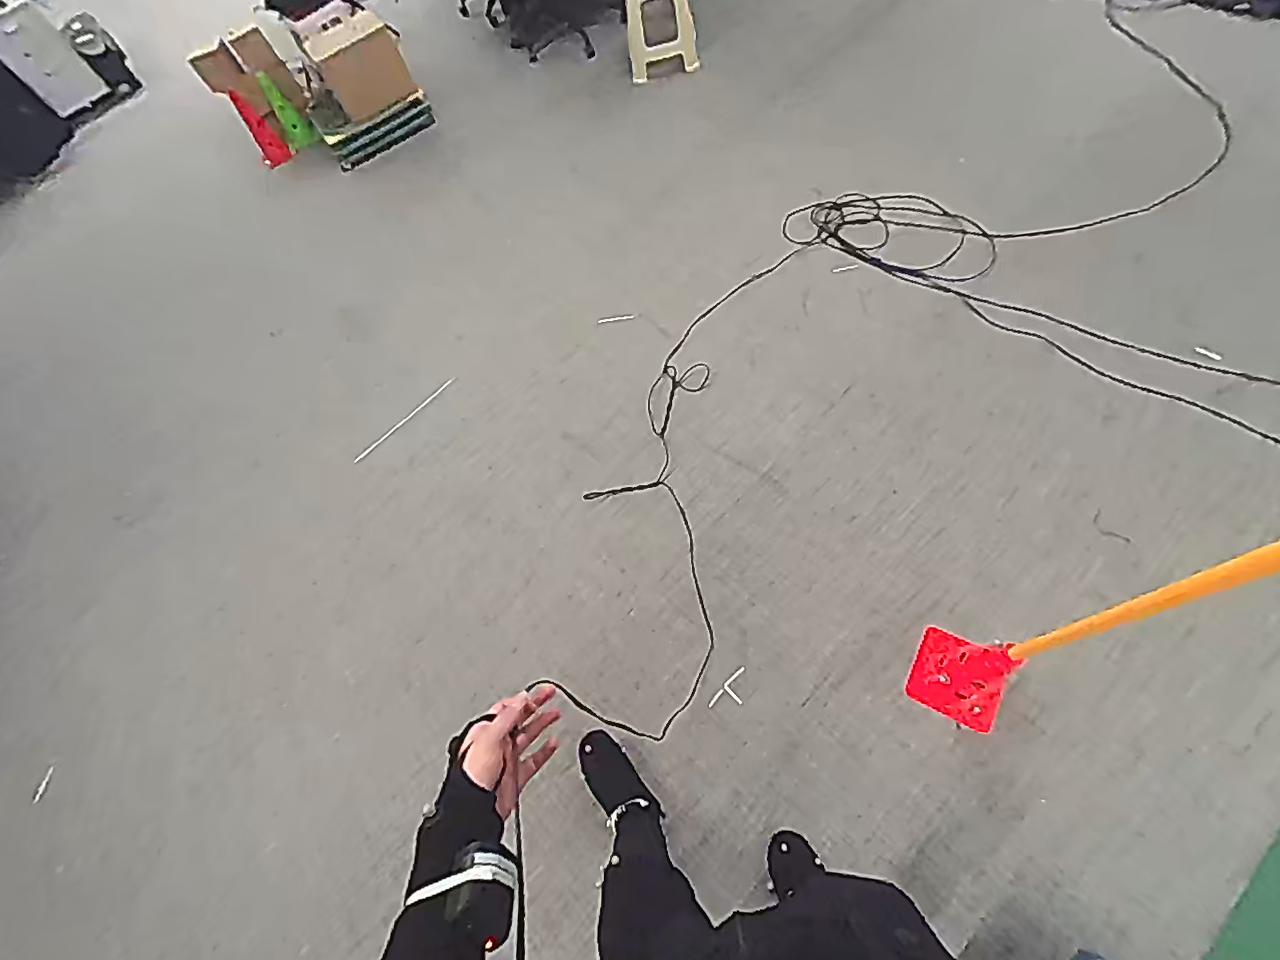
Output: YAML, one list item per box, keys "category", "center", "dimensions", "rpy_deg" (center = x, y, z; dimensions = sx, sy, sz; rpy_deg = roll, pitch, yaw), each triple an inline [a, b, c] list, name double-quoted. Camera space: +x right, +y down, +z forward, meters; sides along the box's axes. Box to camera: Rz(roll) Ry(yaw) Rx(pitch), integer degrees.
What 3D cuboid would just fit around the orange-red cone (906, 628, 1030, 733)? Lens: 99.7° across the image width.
- category: "orange-red cone"
  center: [0.757, 0.413, 1.192]
  dimensions: [0.198, 0.360, 0.199]
  rpy_deg: [25, 69, 22]
